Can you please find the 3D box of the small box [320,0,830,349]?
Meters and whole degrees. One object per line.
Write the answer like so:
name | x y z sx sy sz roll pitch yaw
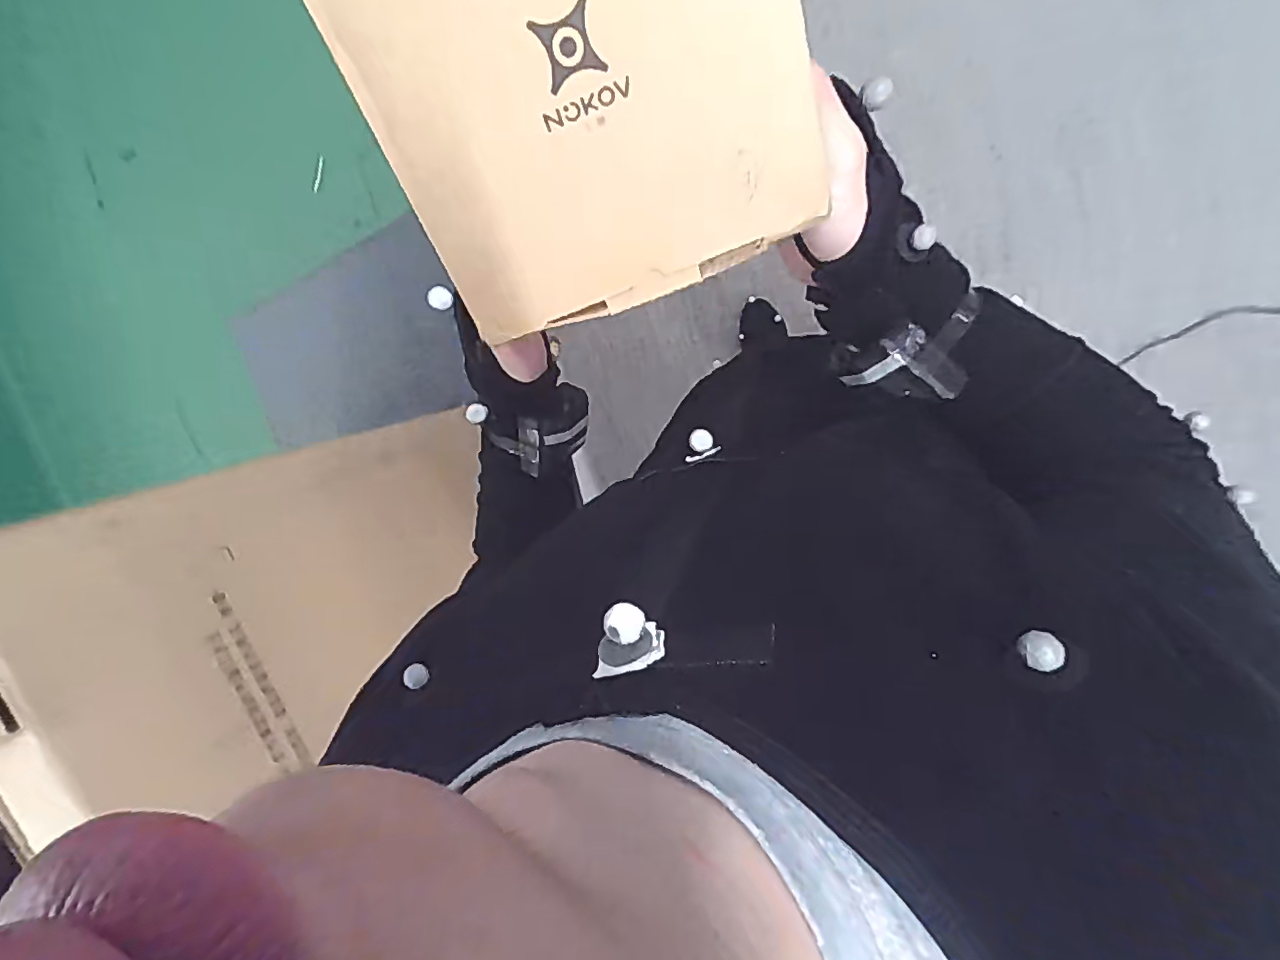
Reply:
small box | -0.021 -0.195 0.275 0.168 0.176 0.179 -18 119 9
